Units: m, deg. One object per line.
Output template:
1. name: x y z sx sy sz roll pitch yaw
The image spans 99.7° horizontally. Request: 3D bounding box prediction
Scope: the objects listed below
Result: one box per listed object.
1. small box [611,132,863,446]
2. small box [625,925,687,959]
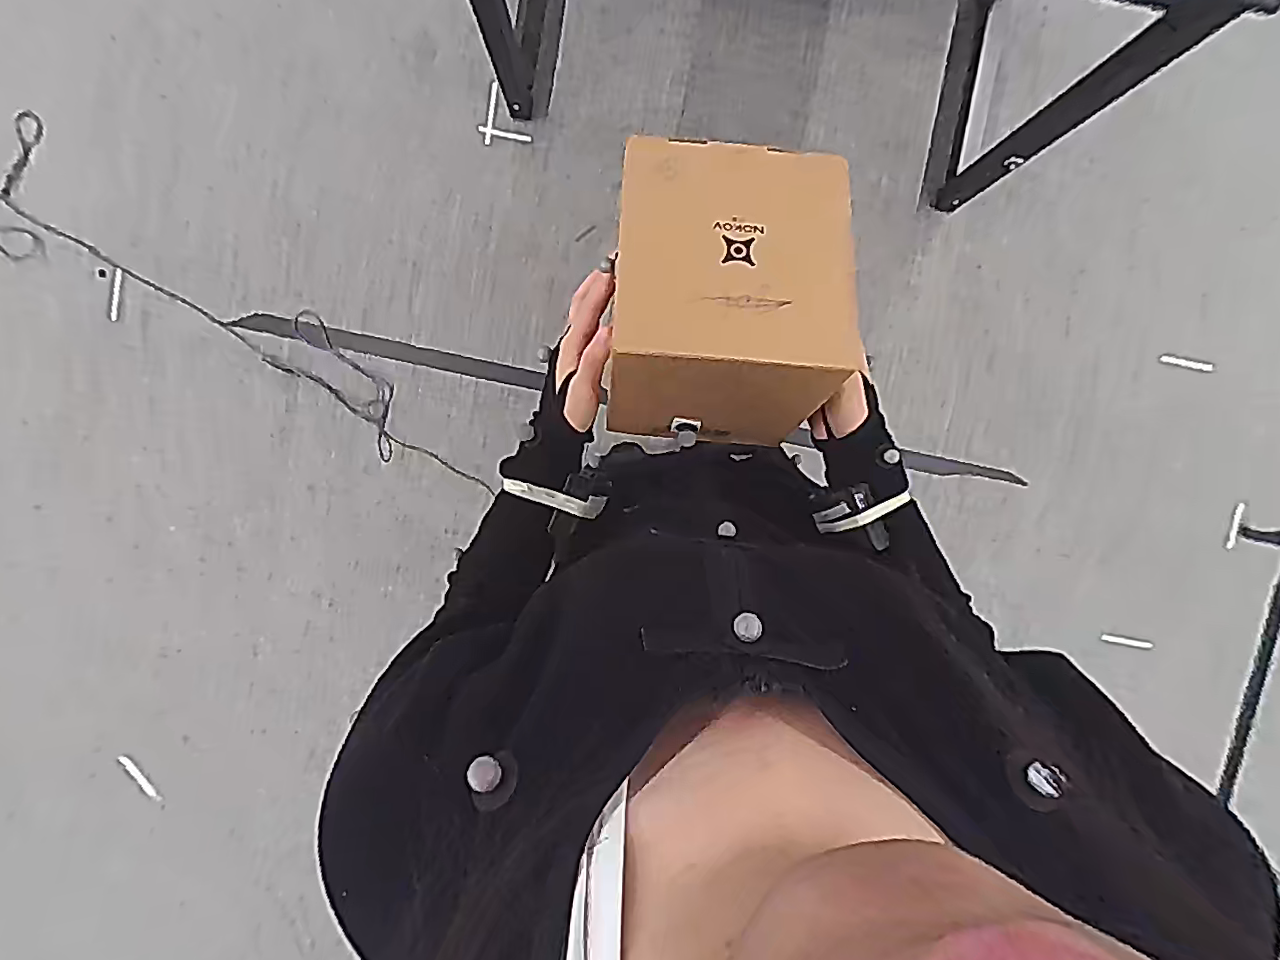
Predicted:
1. small box: 0.063 -0.141 0.448 0.168 0.176 0.179 3 76 -3
2. small box: 0.048 1.416 1.541 0.179 0.176 0.168 -2 95 -3
